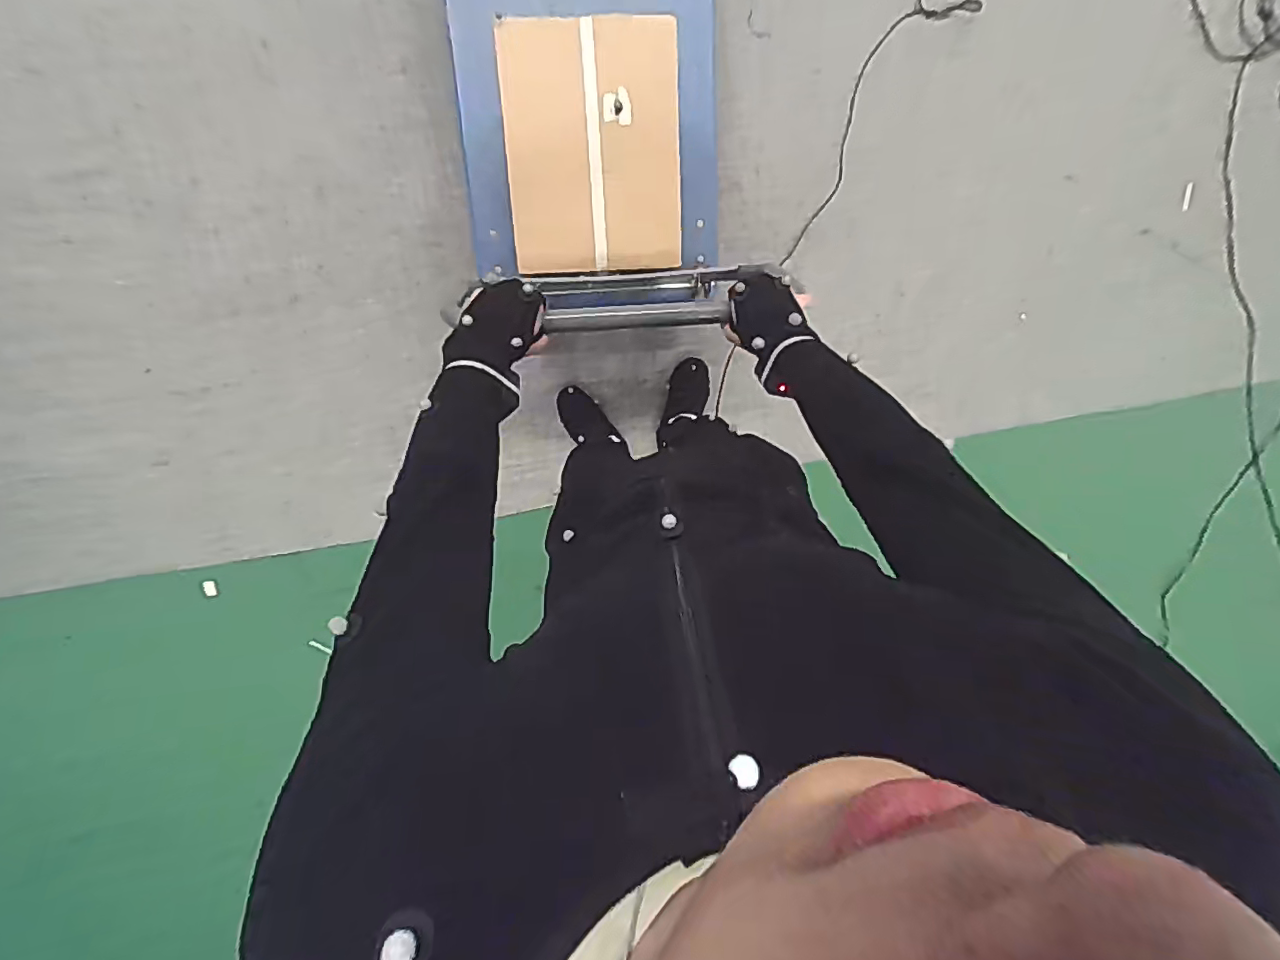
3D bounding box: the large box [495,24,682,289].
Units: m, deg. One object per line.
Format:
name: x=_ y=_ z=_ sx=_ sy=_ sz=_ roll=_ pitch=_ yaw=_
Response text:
large box: x=-0.096 y=-0.630 z=1.128 sx=0.320 sy=0.320 sz=0.408 roll=-4 pitch=105 yaw=-5
